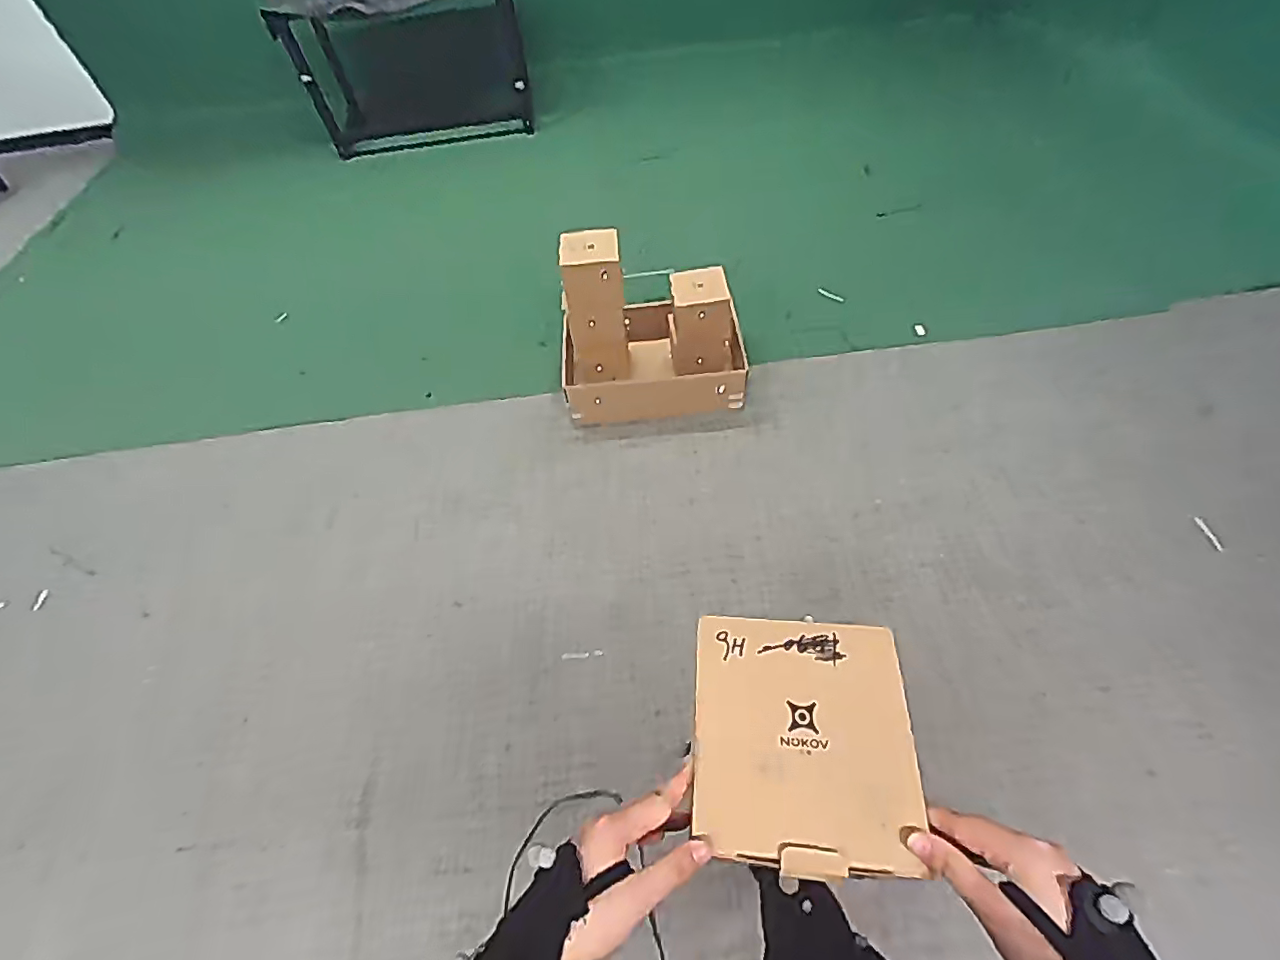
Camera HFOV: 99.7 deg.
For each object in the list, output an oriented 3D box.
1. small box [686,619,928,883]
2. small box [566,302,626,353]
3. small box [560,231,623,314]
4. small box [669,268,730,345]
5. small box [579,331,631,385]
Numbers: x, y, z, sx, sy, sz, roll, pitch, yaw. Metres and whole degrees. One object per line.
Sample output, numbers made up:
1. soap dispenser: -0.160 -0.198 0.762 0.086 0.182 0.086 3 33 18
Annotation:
1. small box: 0.129 0.242 0.488 0.168 0.176 0.179 3 56 4
2. small box: -0.142 -0.539 1.788 0.179 0.176 0.168 -5 56 1
3. small box: -0.143 -0.631 1.650 0.179 0.176 0.168 -6 55 1
4. small box: 0.195 -0.561 1.770 0.179 0.176 0.168 -7 57 2
5. small box: -0.125 -0.456 1.929 0.168 0.176 0.179 -6 56 1
